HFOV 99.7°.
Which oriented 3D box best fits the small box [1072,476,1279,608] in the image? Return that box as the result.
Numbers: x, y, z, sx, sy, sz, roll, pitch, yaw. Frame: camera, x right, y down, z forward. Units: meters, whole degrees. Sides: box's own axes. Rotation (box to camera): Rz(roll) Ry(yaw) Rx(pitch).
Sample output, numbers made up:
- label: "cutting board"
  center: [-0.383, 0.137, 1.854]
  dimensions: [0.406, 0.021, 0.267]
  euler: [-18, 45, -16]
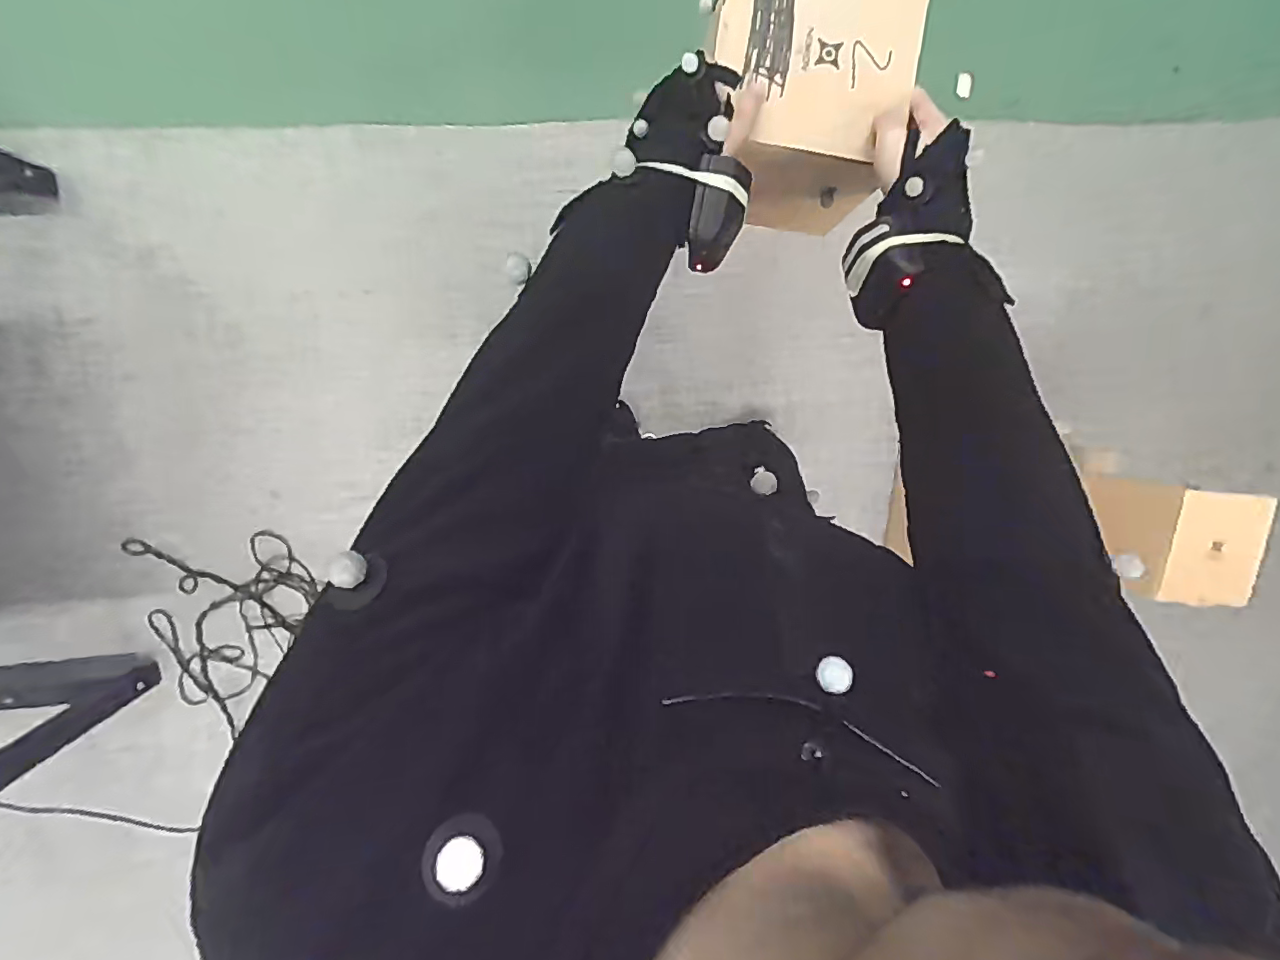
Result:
- label: "small box"
  center: [0.862, 0.092, 0.885]
  dimensions: [0.168, 0.176, 0.179]
  euler: [4, 99, -7]
